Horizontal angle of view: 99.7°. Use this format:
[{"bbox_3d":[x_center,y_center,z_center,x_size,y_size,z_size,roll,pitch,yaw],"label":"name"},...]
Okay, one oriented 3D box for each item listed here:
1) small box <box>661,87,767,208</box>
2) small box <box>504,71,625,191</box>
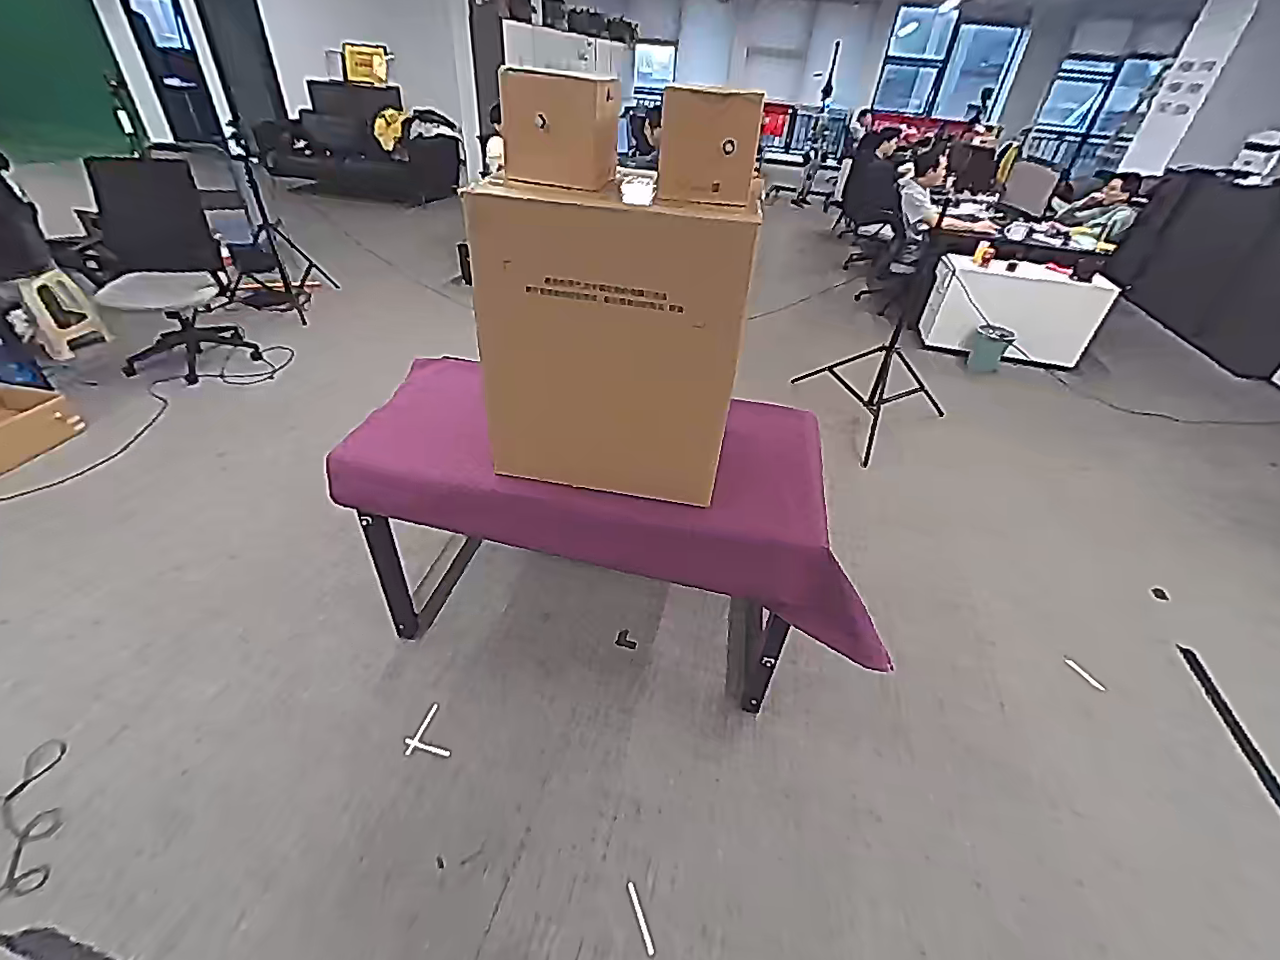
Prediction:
[{"bbox_3d":[0.133,-0.603,0.981,0.168,0.176,0.179,8,37,5],"label":"small box"},{"bbox_3d":[-0.135,-0.649,1.008,0.179,0.176,0.168,11,38,7],"label":"small box"}]
